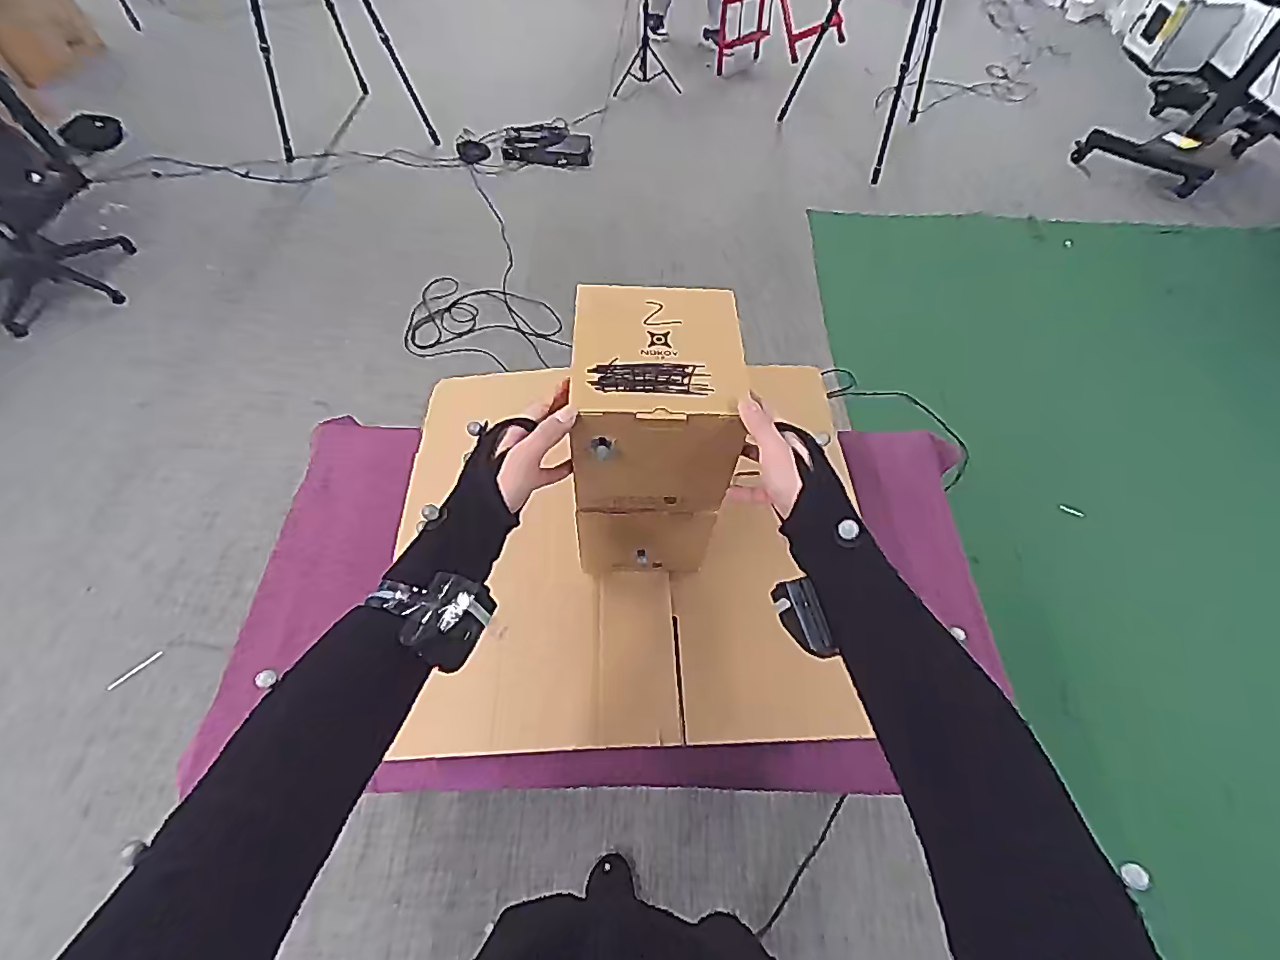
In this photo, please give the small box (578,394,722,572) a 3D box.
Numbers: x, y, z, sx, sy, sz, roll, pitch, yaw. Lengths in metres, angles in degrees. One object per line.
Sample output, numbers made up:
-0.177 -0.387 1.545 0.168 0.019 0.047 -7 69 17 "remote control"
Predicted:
0.007 0.007 0.719 0.168 0.176 0.179 1 58 -2 "small box"
